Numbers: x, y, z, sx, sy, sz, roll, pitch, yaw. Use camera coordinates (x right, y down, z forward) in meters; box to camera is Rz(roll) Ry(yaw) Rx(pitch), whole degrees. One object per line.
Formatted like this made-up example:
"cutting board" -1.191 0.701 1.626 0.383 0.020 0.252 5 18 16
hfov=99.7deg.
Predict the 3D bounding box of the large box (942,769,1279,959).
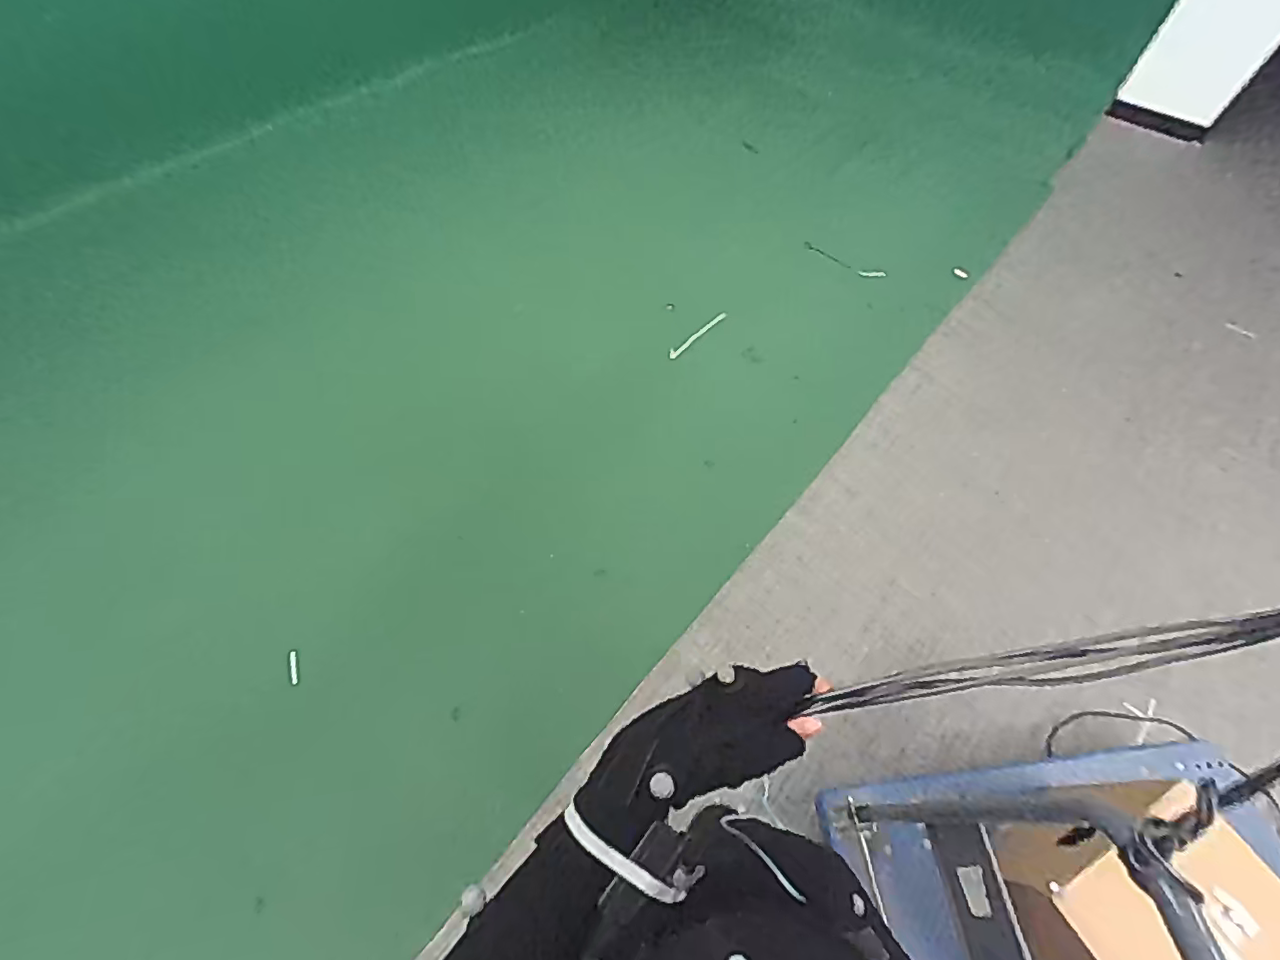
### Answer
"large box" 0.801 0.747 0.862 0.320 0.320 0.408 -24 61 -15
